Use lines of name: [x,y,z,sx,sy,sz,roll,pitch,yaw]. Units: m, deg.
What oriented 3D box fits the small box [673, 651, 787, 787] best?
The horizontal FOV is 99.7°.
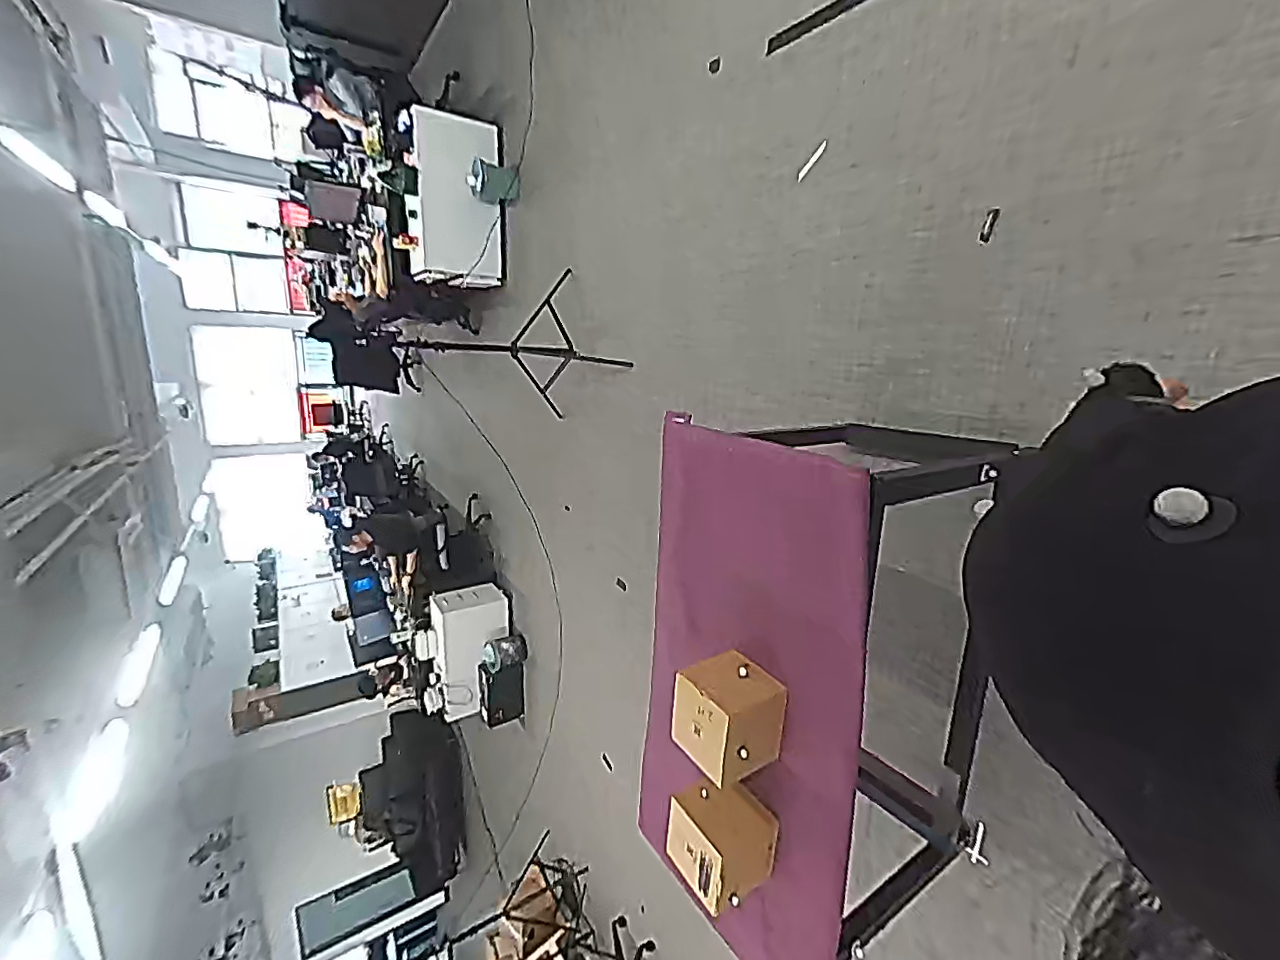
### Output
small box: [0.190,0.495,1.146,0.168,0.176,0.179,25,116,52]
